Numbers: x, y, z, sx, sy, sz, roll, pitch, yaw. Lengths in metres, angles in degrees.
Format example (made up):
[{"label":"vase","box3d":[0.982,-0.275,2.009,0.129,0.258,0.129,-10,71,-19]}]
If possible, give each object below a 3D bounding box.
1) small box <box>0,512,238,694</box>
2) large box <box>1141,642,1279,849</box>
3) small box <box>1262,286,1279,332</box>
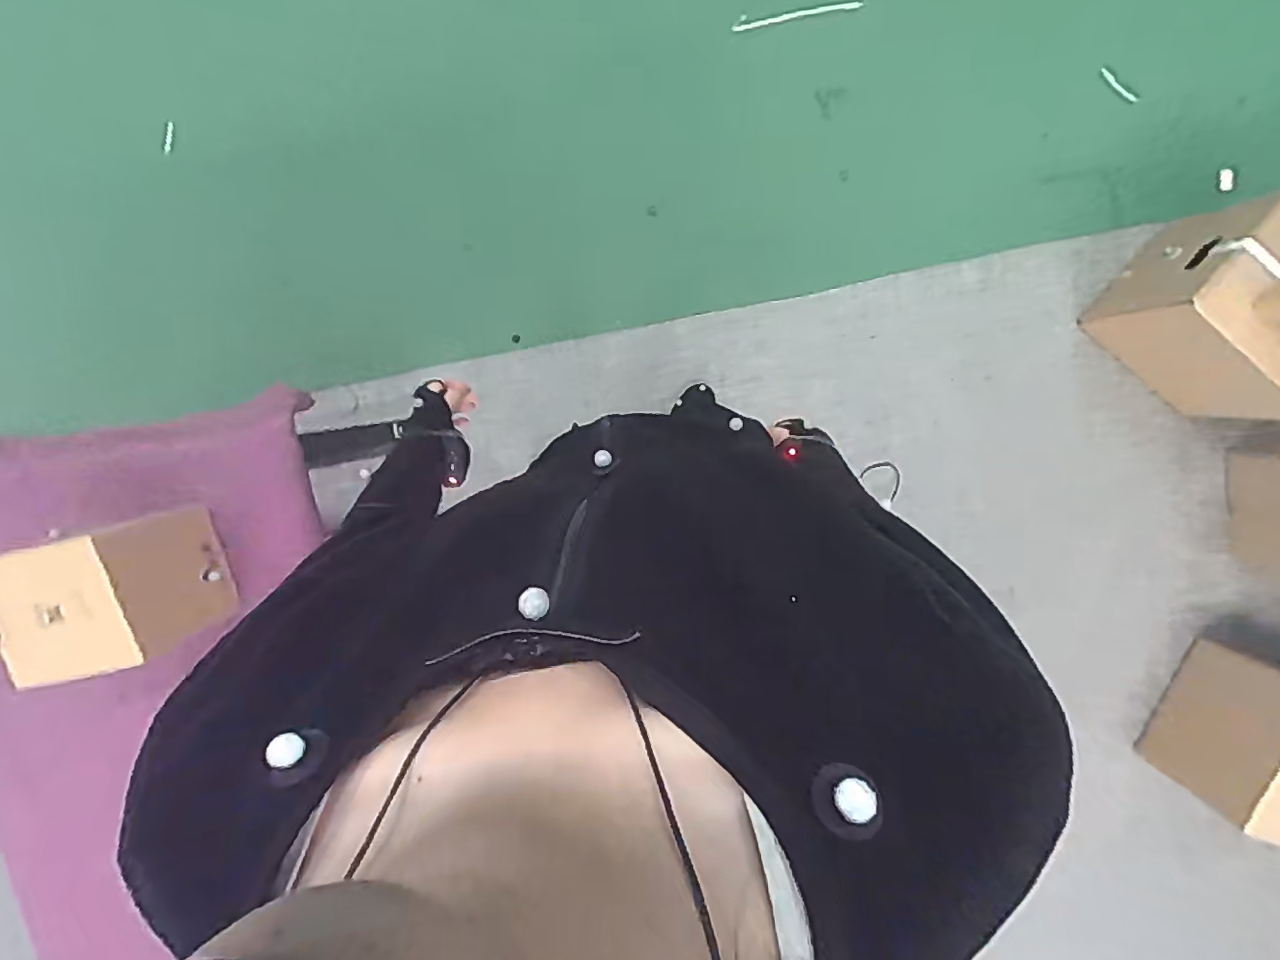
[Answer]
[{"label":"small box","box3d":[-0.695,0.152,0.718,0.179,0.176,0.168,-12,100,4]},{"label":"large box","box3d":[1.693,0.714,1.445,0.320,0.320,0.408,18,101,-2]},{"label":"small box","box3d":[1.388,-0.354,1.032,0.168,0.176,0.179,42,97,-5]}]
